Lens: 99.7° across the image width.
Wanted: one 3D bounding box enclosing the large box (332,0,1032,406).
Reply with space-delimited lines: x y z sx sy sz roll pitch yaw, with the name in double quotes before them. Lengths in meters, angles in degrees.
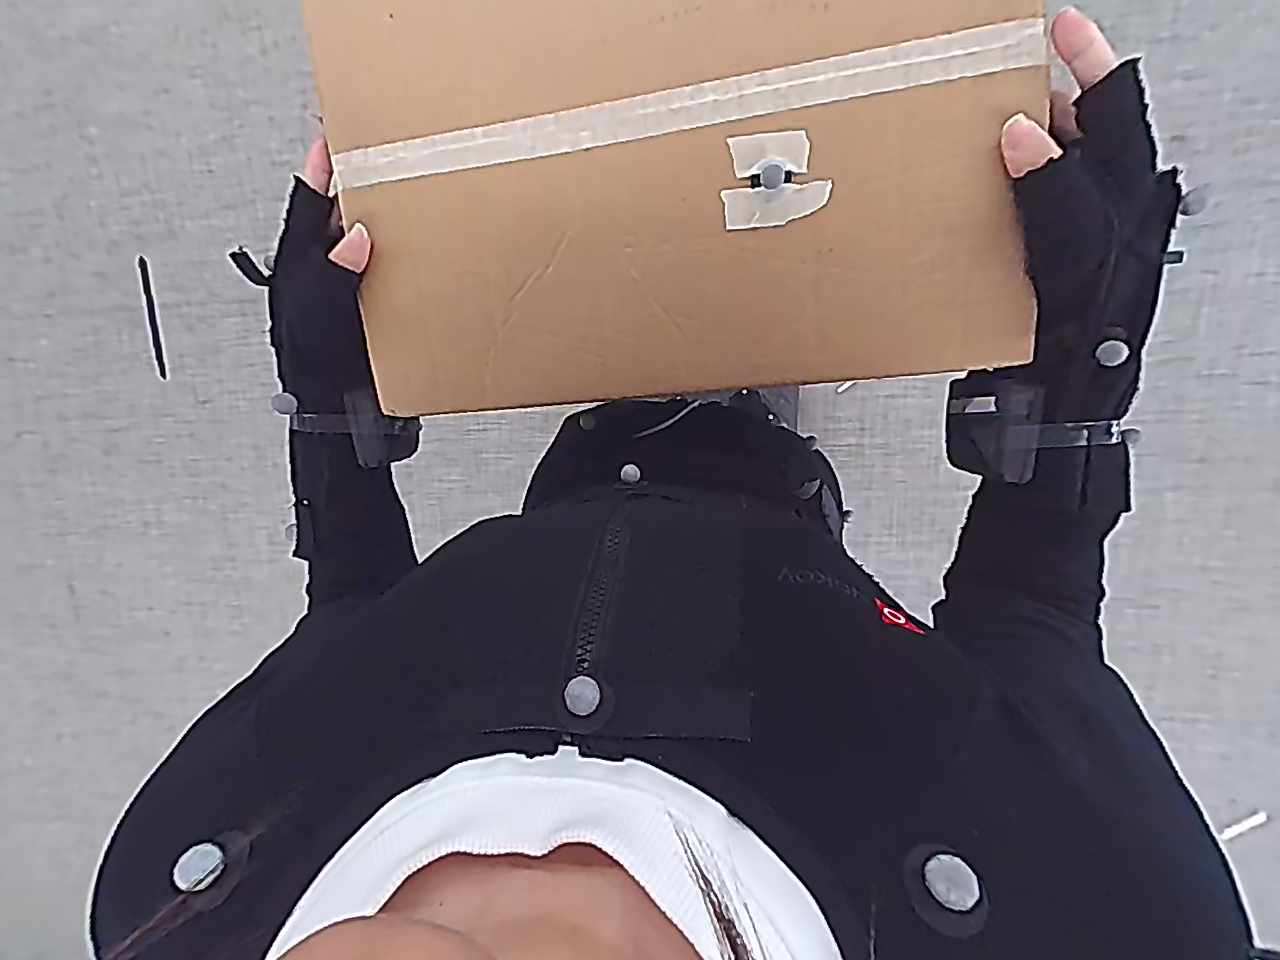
"large box" 0.034 -0.246 0.464 0.408 0.320 0.320 -4 102 10
